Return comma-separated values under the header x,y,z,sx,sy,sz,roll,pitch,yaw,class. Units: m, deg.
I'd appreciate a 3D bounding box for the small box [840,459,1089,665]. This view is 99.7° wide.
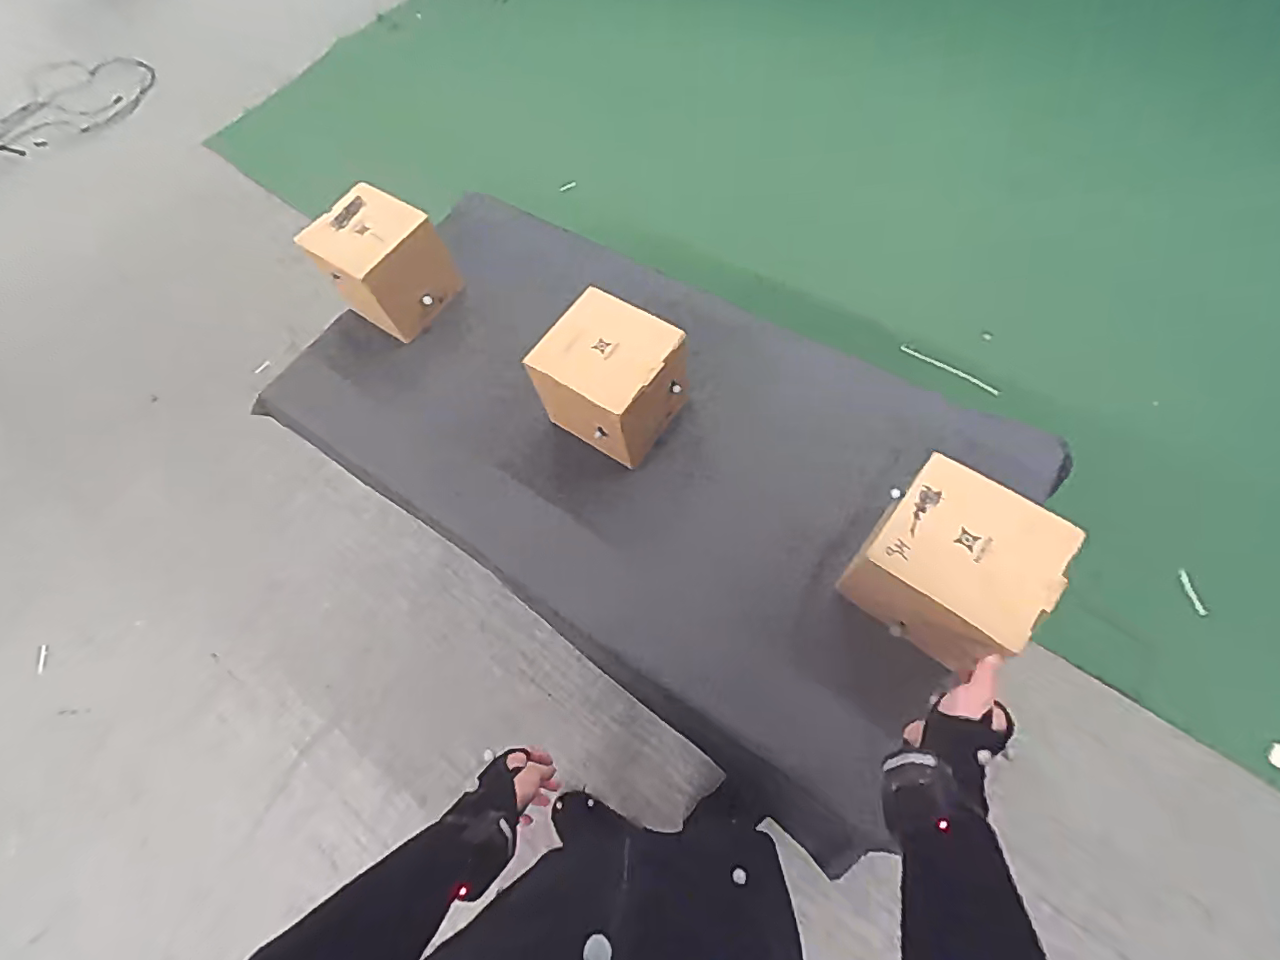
x,y,z,sx,sy,sz,roll,pitch,yaw,class
0.382,0.110,0.670,0.179,0.176,0.168,36,74,18,small box

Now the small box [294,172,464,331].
x,y,z,sx,sy,sz,roll,pitch,yaw,class
-0.454,-0.400,0.967,0.179,0.176,0.168,33,73,16,small box

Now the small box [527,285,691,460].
x,y,z,sx,sy,sz,roll,pitch,yaw,class
-0.036,-0.154,0.827,0.179,0.176,0.168,31,71,18,small box
